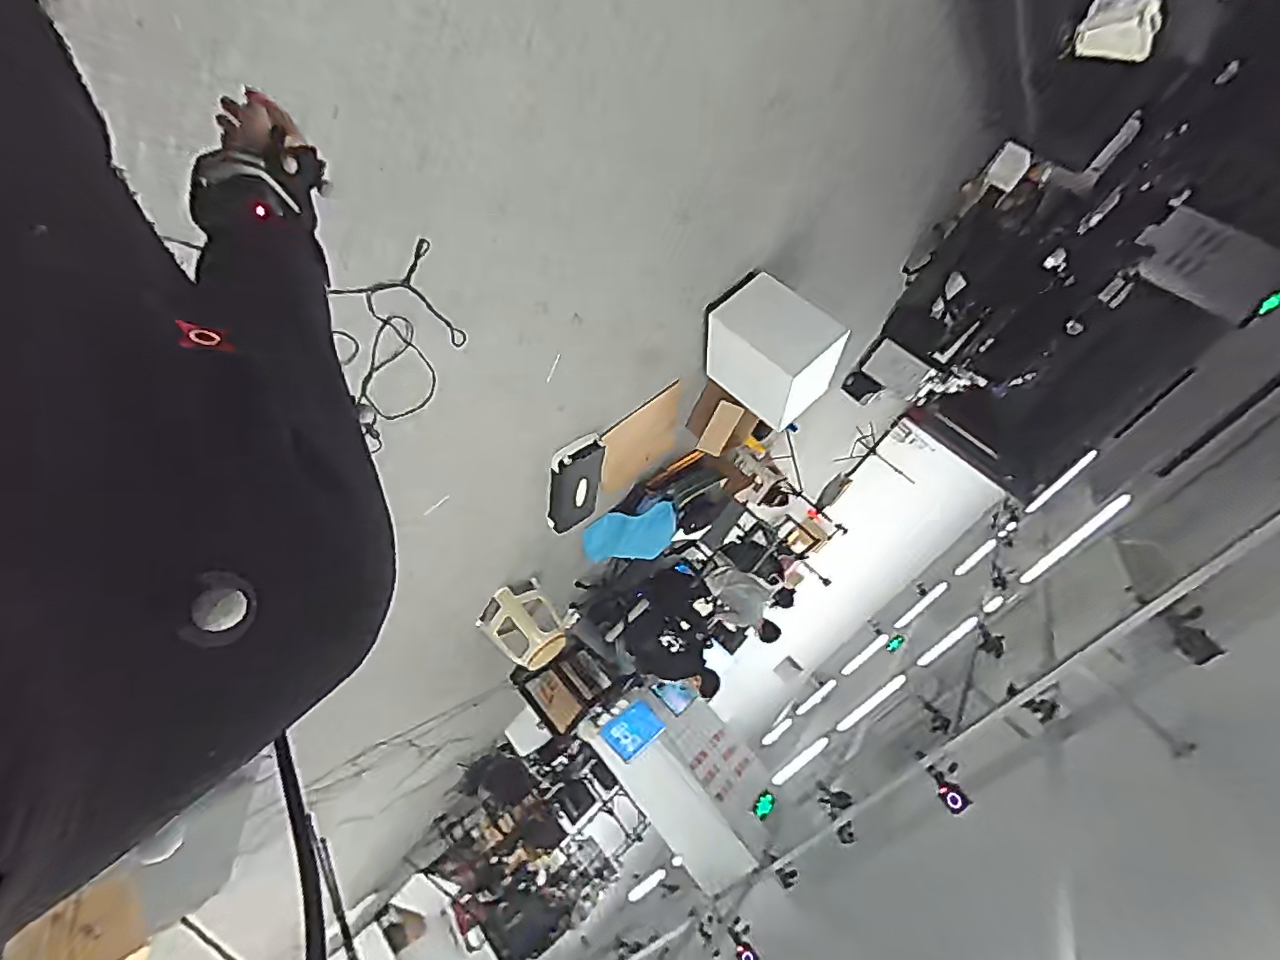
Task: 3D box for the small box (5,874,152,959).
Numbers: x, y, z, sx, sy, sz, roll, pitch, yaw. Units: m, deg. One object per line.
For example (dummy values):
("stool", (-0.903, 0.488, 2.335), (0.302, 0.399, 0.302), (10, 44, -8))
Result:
("small box", (-1.099, 0.926, 1.058), (0.168, 0.176, 0.179), (-13, 143, -55))
